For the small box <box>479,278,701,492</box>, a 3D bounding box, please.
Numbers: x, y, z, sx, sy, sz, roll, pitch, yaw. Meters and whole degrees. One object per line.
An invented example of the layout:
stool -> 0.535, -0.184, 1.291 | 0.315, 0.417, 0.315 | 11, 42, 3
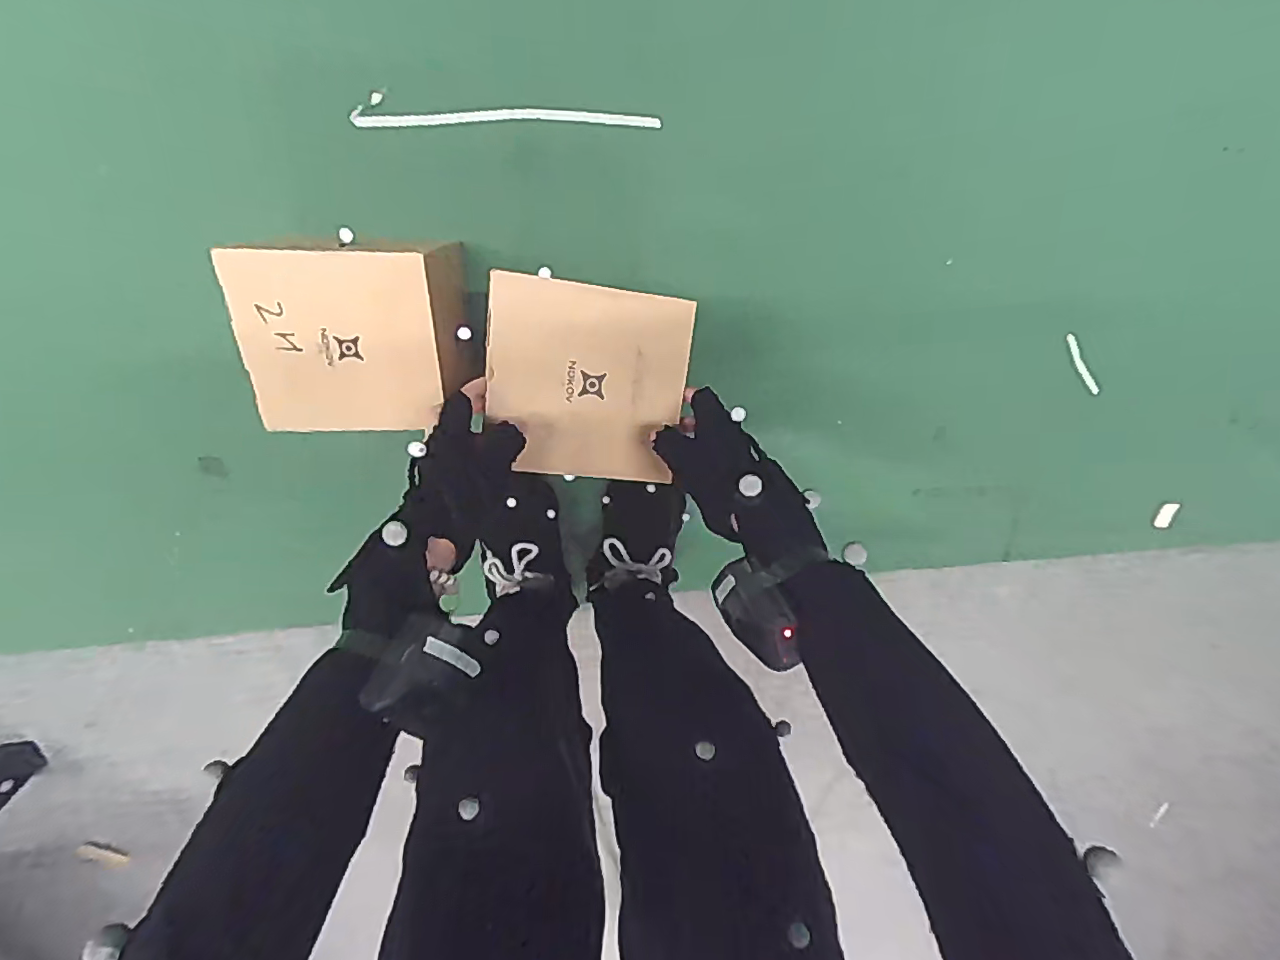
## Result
small box -> -0.057, -0.095, 0.543 | 0.179, 0.176, 0.168 | 6, 104, -12
